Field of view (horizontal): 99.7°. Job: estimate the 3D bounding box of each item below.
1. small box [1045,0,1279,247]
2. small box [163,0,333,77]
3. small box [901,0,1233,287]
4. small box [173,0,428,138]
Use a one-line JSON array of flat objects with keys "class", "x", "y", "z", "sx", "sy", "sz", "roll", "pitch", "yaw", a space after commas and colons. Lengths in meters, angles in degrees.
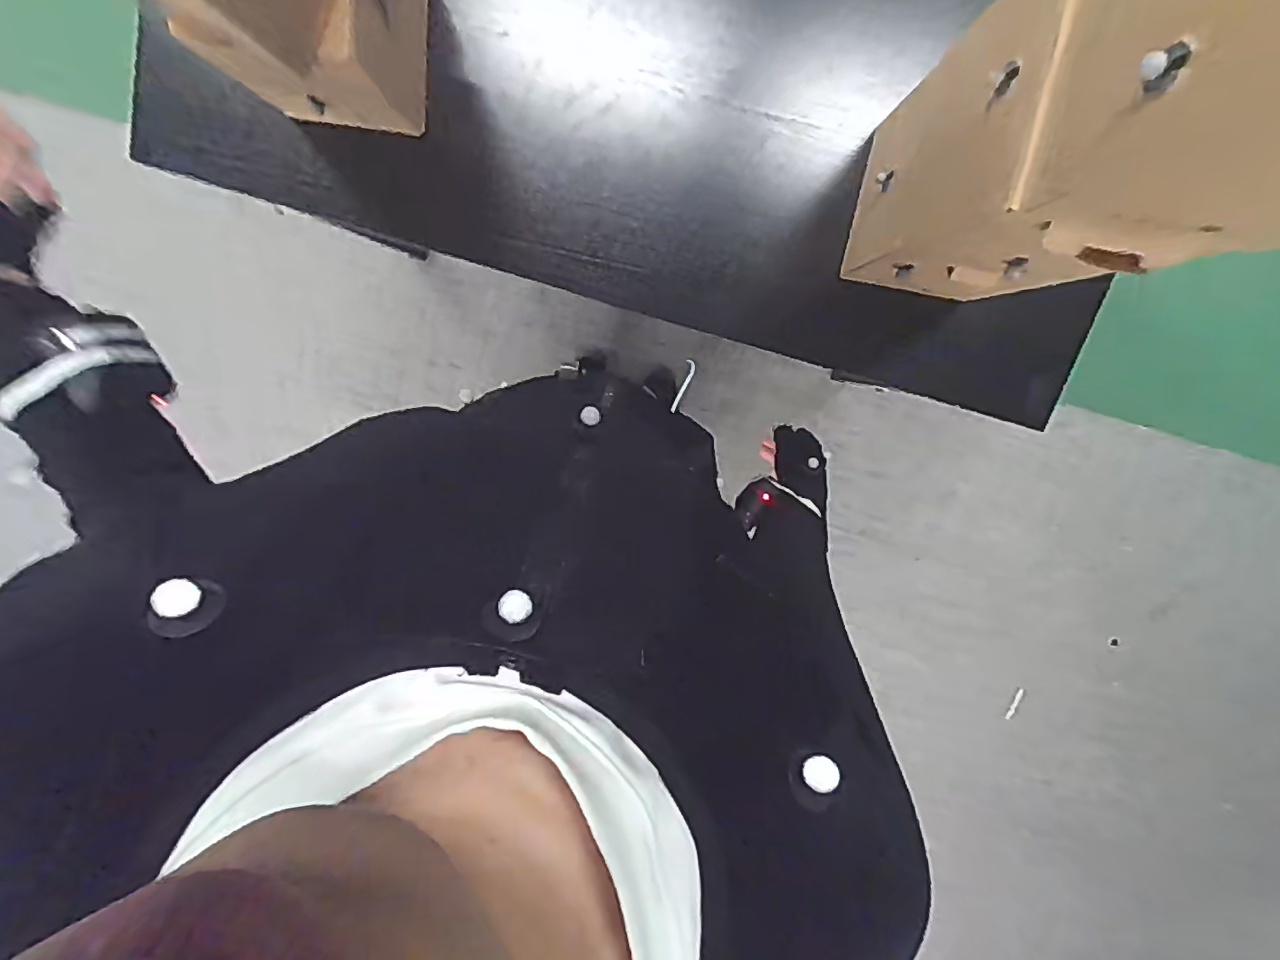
[{"class": "small box", "x": 0.342, "y": -0.224, "z": 0.254, "sx": 0.168, "sy": 0.176, "sz": 0.179, "roll": 8, "pitch": 102, "yaw": -1}, {"class": "small box", "x": -0.333, "y": -0.451, "z": 0.392, "sx": 0.168, "sy": 0.176, "sz": 0.179, "roll": 28, "pitch": 101, "yaw": -7}, {"class": "small box", "x": 0.336, "y": -0.265, "z": 0.429, "sx": 0.168, "sy": 0.176, "sz": 0.179, "roll": 8, "pitch": 103, "yaw": -1}, {"class": "small box", "x": -0.329, "y": -0.488, "z": 0.553, "sx": 0.168, "sy": 0.176, "sz": 0.179, "roll": 7, "pitch": 104, "yaw": -2}]
